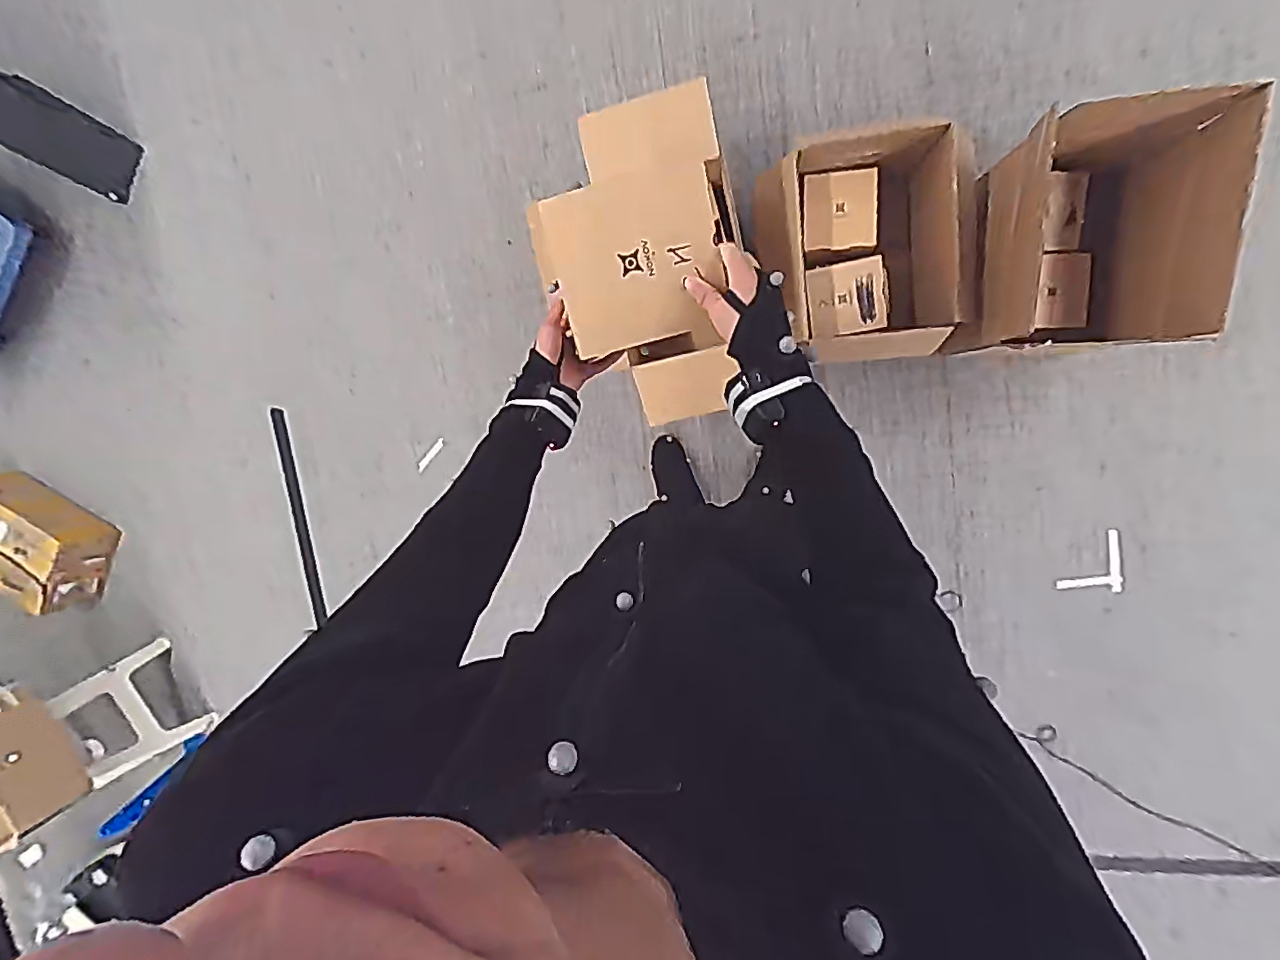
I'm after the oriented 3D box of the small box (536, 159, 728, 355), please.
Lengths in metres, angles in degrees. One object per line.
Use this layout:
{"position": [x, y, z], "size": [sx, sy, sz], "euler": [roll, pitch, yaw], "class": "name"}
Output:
{"position": [-0.014, -0.251, 0.646], "size": [0.179, 0.176, 0.168], "euler": [-16, 107, -4], "class": "small box"}
